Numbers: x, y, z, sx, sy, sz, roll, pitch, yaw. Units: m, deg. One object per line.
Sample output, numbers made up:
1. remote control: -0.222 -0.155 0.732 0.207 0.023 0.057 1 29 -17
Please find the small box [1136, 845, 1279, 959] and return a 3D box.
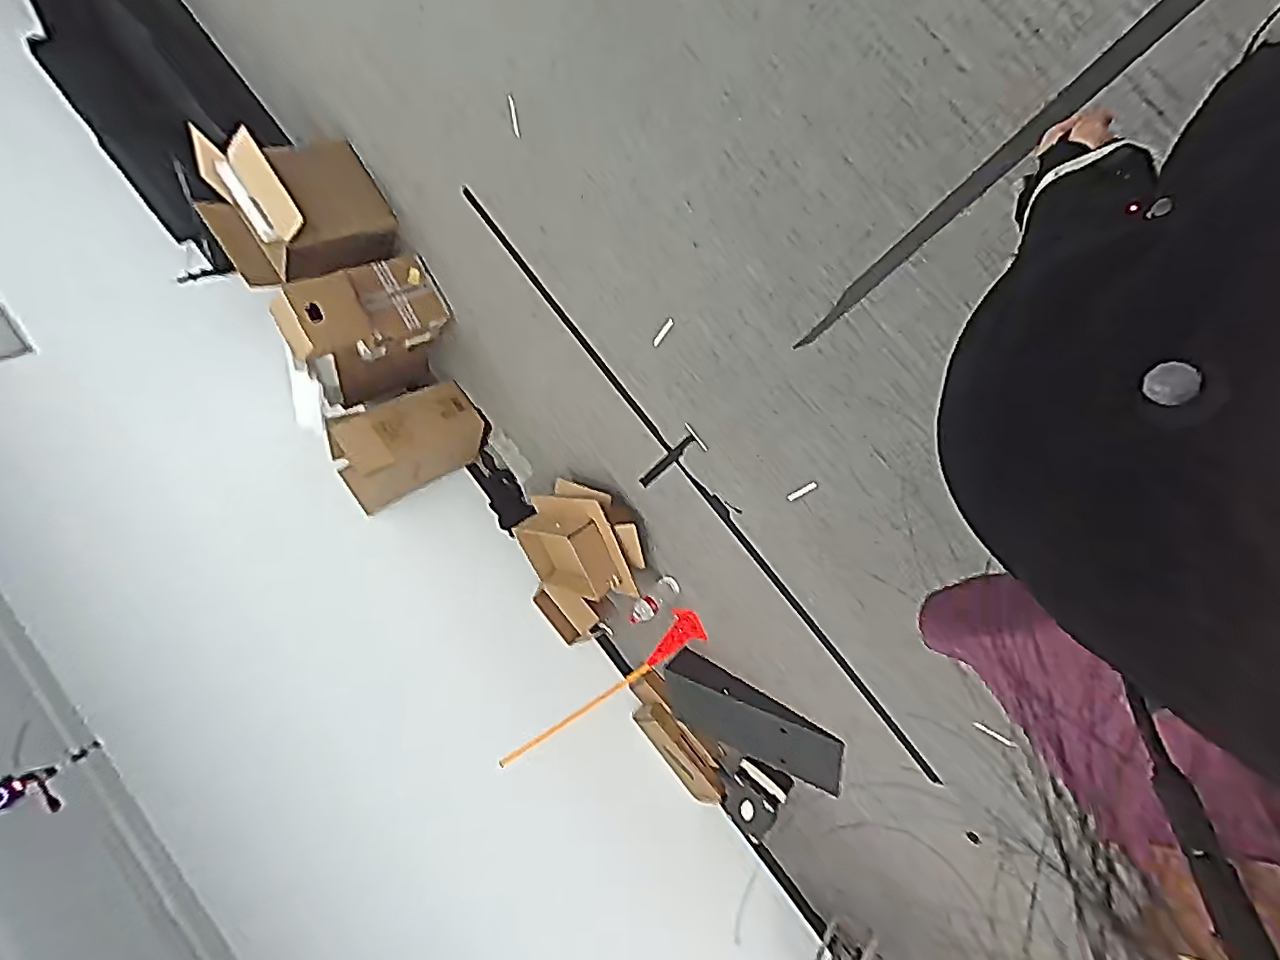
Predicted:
1. small box: 0.850 0.650 0.749 0.168 0.176 0.179 53 147 4
